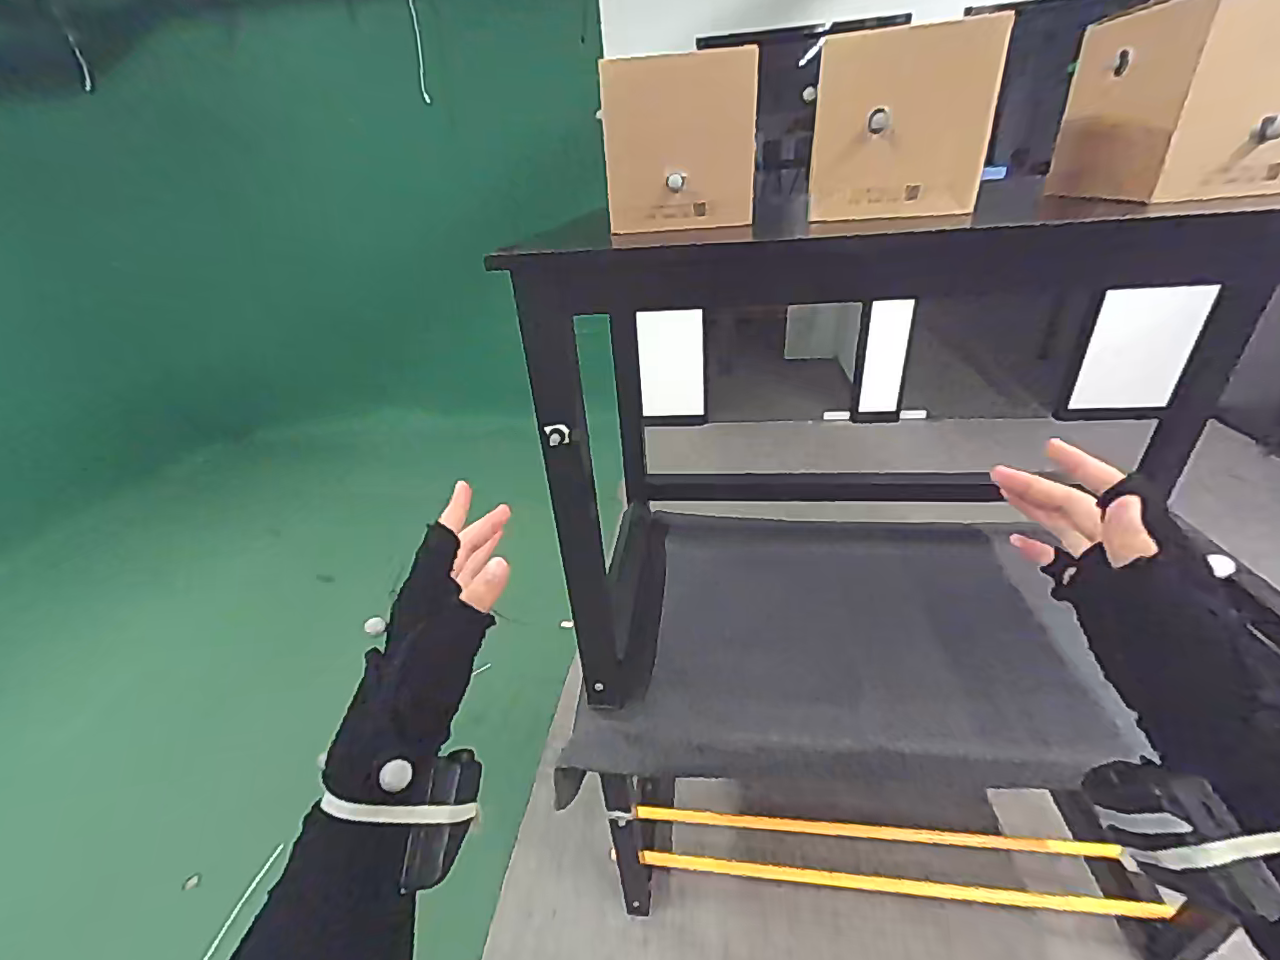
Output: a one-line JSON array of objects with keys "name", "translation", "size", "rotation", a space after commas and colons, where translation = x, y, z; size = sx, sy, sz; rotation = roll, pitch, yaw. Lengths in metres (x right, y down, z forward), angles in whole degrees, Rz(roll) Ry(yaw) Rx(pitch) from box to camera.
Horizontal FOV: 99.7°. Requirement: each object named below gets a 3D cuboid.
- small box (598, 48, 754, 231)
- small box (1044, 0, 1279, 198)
[{"name": "small box", "translation": [0.043, -0.409, 0.670], "size": [0.168, 0.176, 0.179], "rotation": [-3, 30, 3]}, {"name": "small box", "translation": [0.570, -0.394, 0.563], "size": [0.168, 0.176, 0.179], "rotation": [-3, 30, 5]}]
